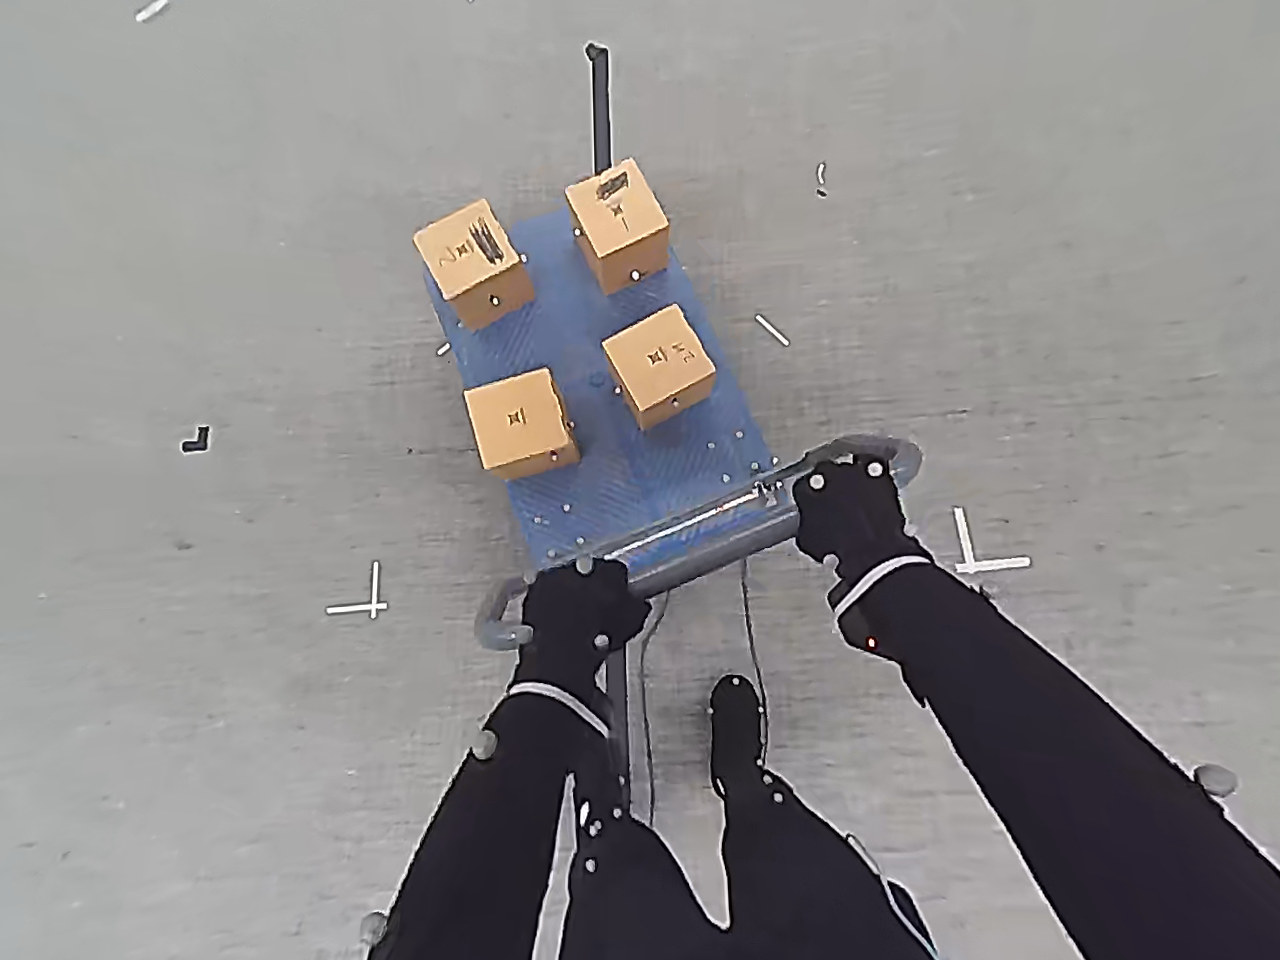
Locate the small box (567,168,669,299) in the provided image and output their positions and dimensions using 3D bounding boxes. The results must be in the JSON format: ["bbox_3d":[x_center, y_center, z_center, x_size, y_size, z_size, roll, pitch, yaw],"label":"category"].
[{"bbox_3d":[-0.048,-0.544,1.212,0.168,0.176,0.179,-26,83,-3],"label":"small box"}]

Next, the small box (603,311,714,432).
[{"bbox_3d":[0.041,-0.222,1.161,0.179,0.176,0.168,-29,82,-3],"label":"small box"}]

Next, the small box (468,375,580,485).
[{"bbox_3d":[-0.239,-0.098,1.149,0.179,0.176,0.168,-17,81,-3],"label":"small box"}]
